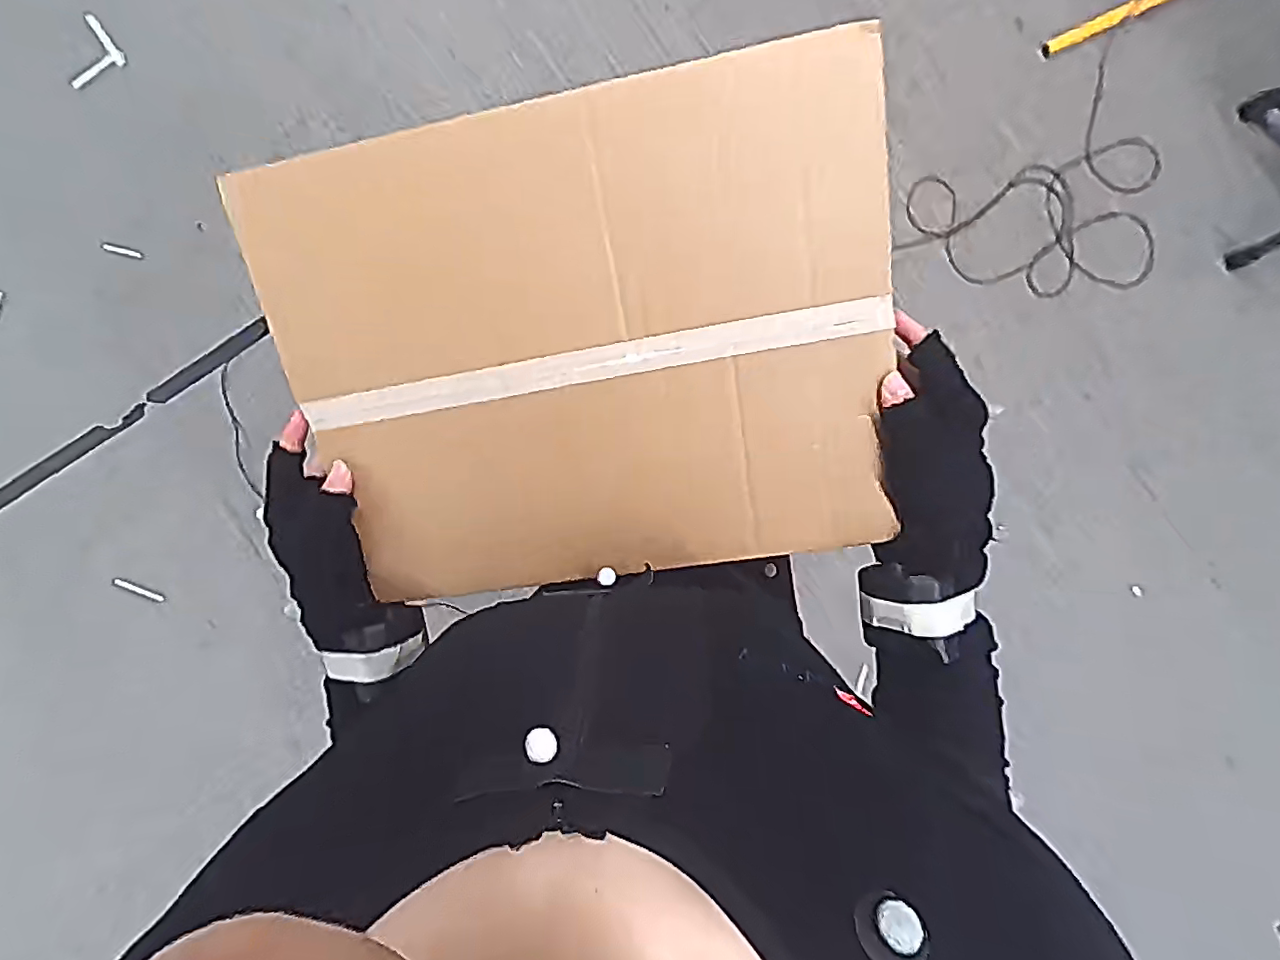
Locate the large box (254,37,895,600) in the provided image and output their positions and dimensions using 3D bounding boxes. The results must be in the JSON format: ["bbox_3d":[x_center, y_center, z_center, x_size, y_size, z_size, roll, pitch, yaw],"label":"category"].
[{"bbox_3d":[-0.028,-0.120,0.516,0.408,0.320,0.320,-9,108,7],"label":"large box"}]
